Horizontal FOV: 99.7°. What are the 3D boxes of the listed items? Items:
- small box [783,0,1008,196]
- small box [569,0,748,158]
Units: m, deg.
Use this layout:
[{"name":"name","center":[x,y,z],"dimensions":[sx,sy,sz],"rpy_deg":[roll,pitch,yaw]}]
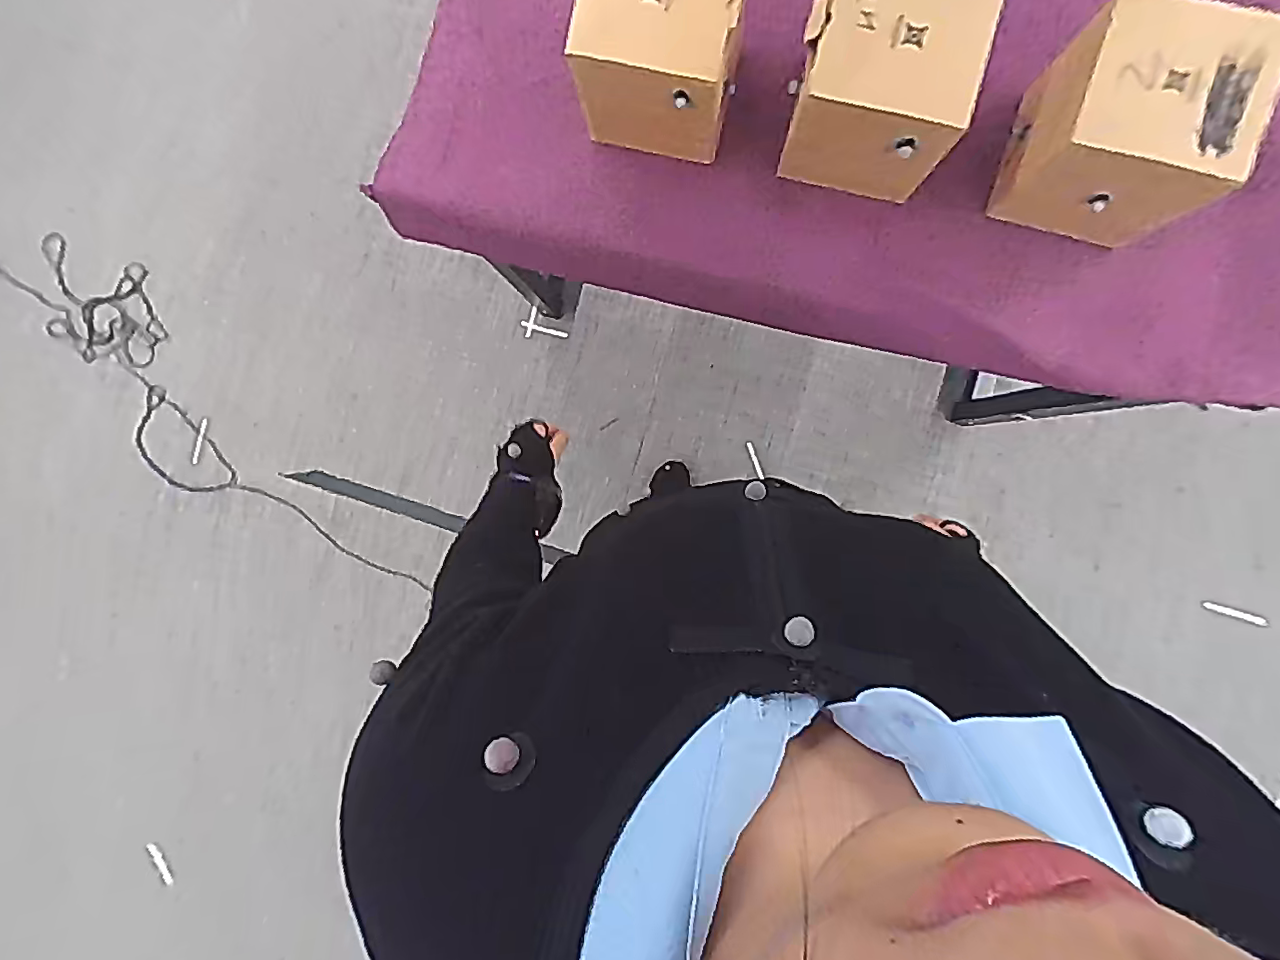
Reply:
[{"name":"small box","center":[0.288,-0.468,0.643],"dimensions":[0.179,0.176,0.168],"rpy_deg":[15,93,4]},{"name":"small box","center":[0.029,-0.531,0.664],"dimensions":[0.179,0.176,0.168],"rpy_deg":[13,93,3]}]
